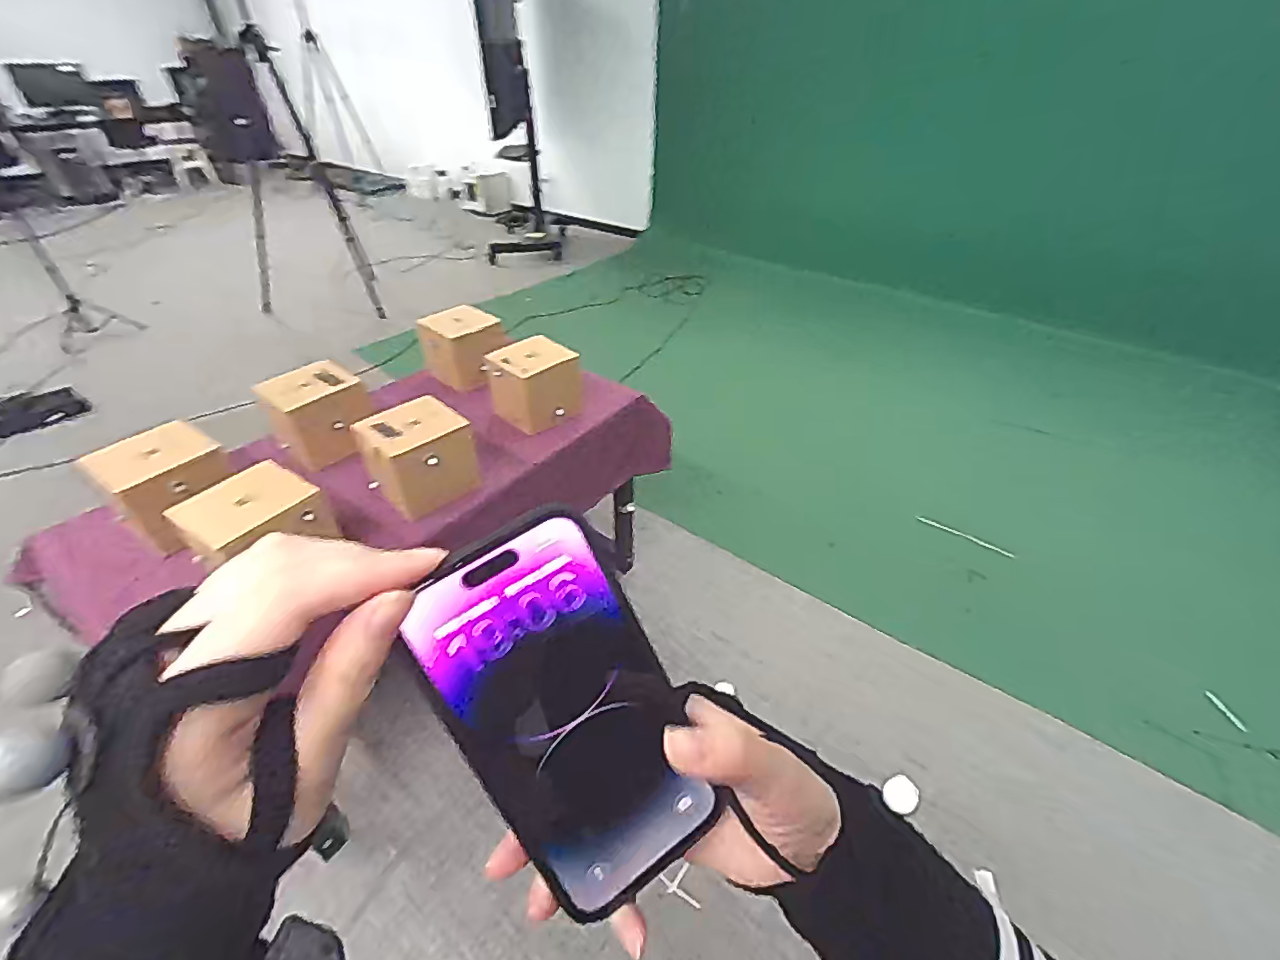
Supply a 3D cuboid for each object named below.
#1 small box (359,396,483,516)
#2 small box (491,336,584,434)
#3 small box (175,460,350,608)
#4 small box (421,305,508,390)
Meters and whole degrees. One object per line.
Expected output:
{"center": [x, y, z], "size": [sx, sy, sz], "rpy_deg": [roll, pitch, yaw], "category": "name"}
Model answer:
{"center": [-0.461, -0.052, 1.159], "size": [0.168, 0.176, 0.179], "rpy_deg": [32, 47, 32], "category": "small box"}
{"center": [-0.261, -0.247, 1.403], "size": [0.168, 0.176, 0.179], "rpy_deg": [32, 48, 33], "category": "small box"}
{"center": [-0.664, 0.097, 0.973], "size": [0.168, 0.176, 0.179], "rpy_deg": [22, 42, 24], "category": "small box"}
{"center": [-0.498, -0.381, 1.559], "size": [0.179, 0.176, 0.168], "rpy_deg": [30, 48, 30], "category": "small box"}
